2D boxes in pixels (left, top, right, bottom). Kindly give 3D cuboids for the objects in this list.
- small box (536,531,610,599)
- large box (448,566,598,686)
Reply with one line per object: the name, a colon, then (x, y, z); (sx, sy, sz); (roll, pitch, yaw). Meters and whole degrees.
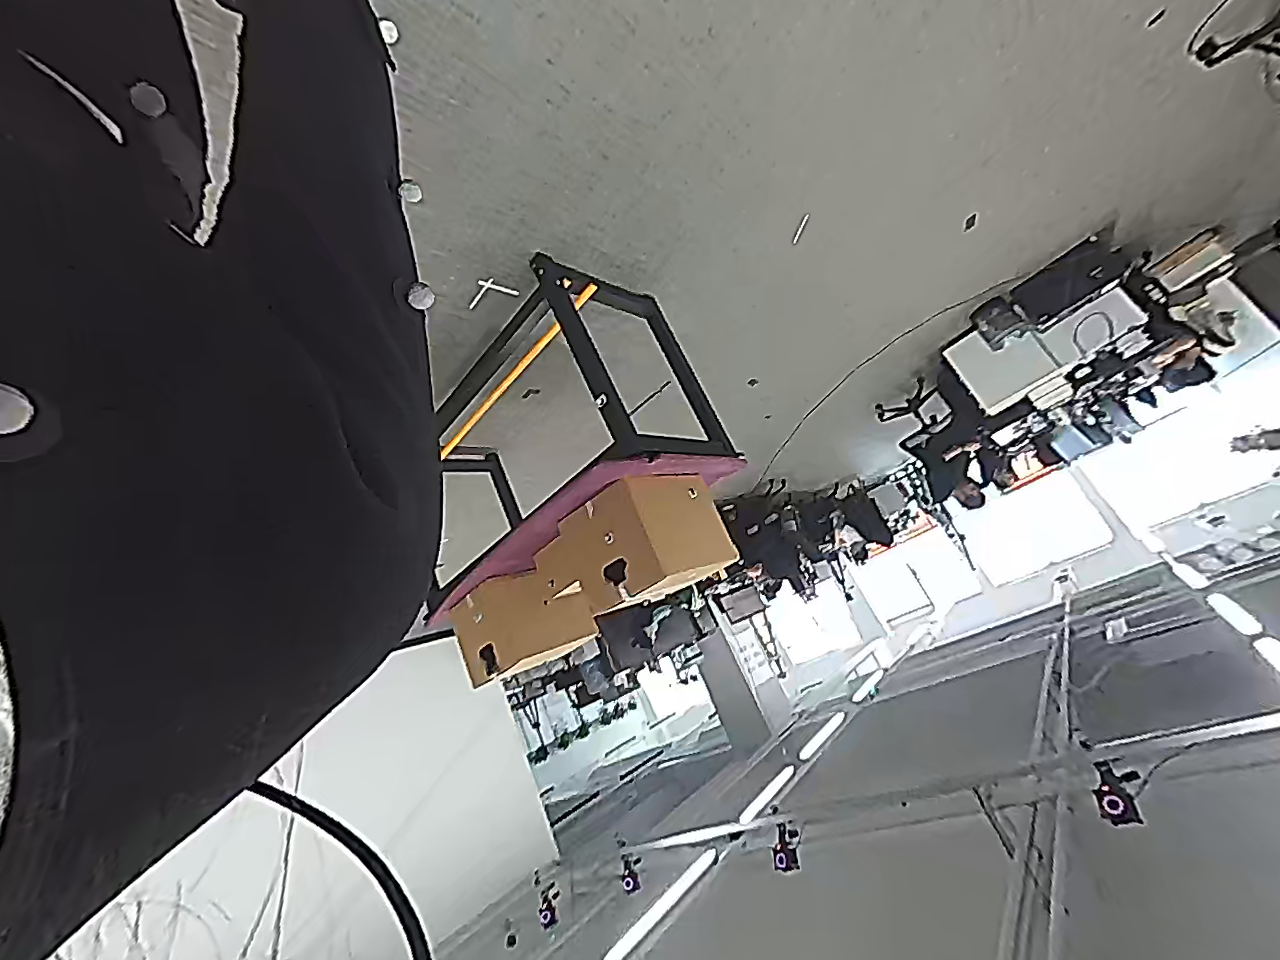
small box: (-0.240, 0.291, 1.879); (0.179, 0.176, 0.168); (-37, 159, 33)
large box: (-0.449, 0.533, 2.067); (0.320, 0.320, 0.408); (-37, 160, 33)
